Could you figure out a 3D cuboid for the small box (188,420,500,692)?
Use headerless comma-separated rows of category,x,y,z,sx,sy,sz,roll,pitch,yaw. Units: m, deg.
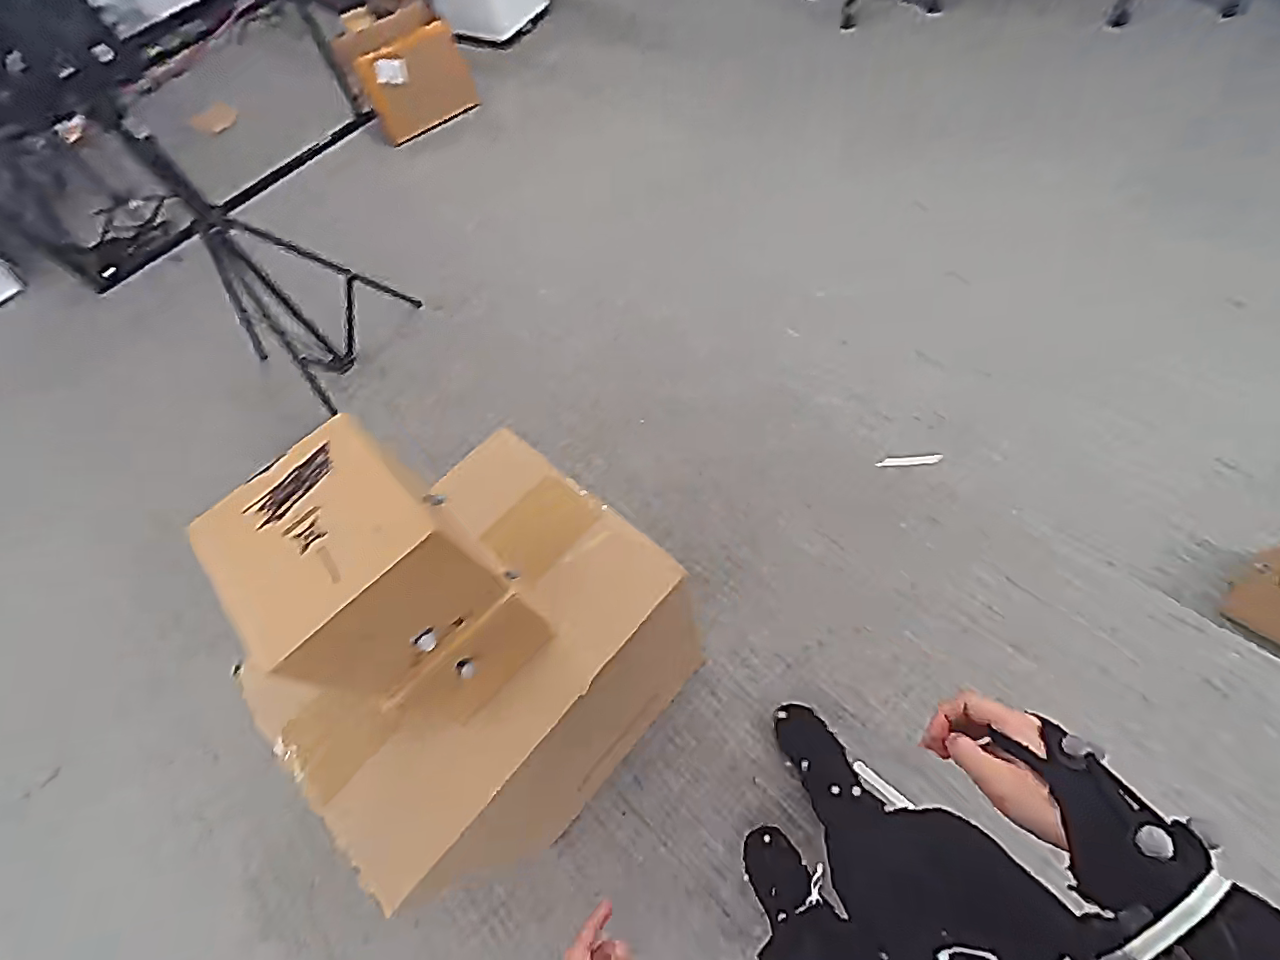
small box,-0.271,0.082,0.527,0.168,0.176,0.179,-43,64,-13

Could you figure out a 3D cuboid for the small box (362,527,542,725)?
small box,-0.241,0.171,0.663,0.179,0.176,0.168,-43,64,-13

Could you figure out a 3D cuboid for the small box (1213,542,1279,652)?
small box,1.324,0.237,1.075,0.179,0.176,0.168,38,74,26
